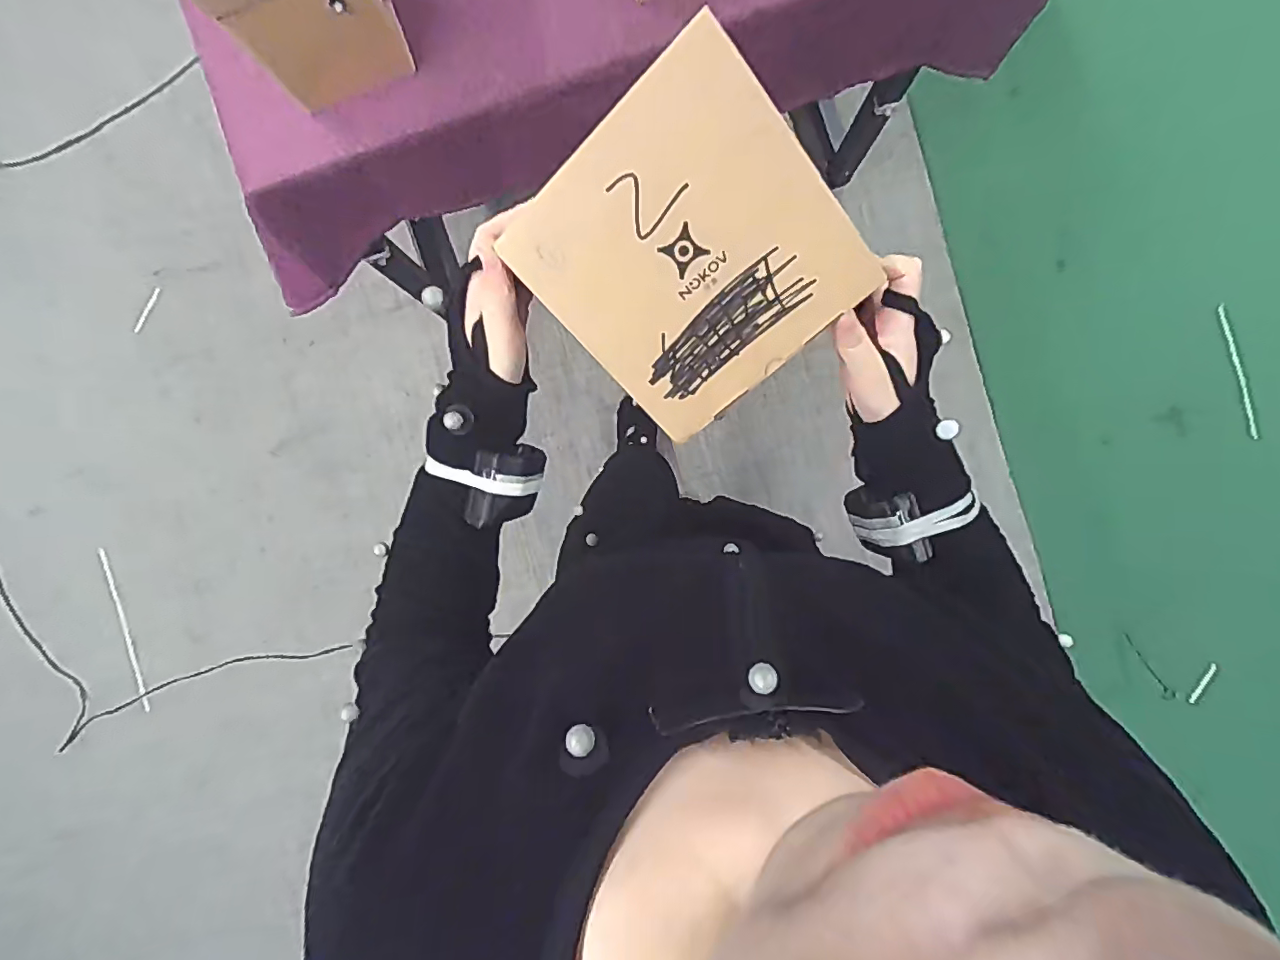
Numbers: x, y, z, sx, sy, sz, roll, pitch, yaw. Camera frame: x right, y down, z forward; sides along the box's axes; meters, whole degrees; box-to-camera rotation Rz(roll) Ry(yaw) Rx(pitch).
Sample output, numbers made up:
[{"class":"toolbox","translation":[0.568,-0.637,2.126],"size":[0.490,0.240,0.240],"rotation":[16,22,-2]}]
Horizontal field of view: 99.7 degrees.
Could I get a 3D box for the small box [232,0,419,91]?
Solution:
[{"class":"small box","translation":[-0.434,-0.675,0.726],"size":[0.179,0.176,0.168],"rotation":[-21,88,1]}]
